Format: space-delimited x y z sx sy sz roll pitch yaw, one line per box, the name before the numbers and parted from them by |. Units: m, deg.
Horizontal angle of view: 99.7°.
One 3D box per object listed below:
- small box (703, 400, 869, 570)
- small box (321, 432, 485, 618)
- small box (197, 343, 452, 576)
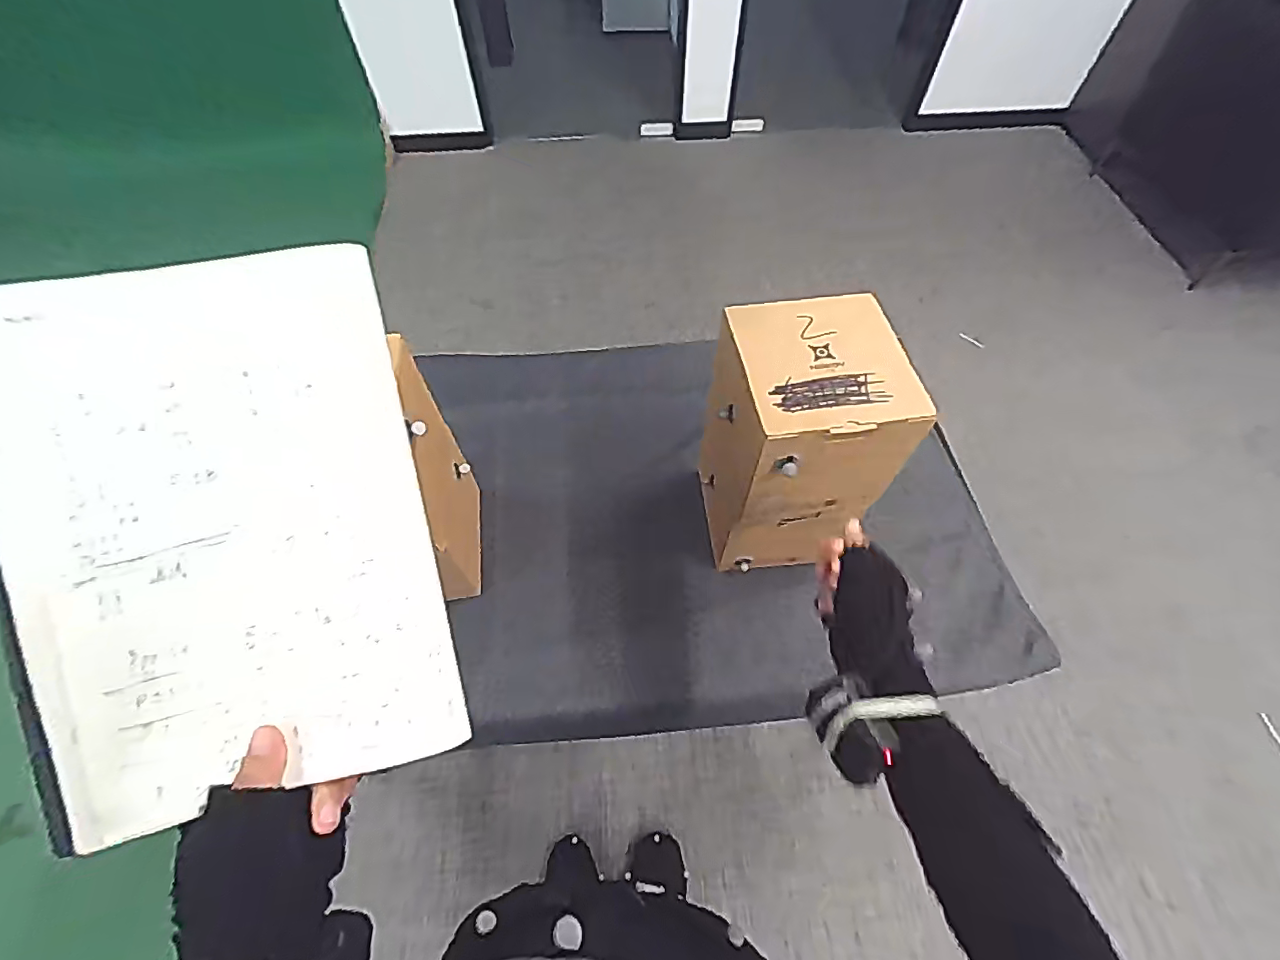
small box | 0.185 0.015 0.746 0.168 0.176 0.179 -5 57 -3
small box | -0.308 0.062 0.713 0.168 0.176 0.179 -8 58 -5
small box | -0.305 -0.018 0.572 0.168 0.176 0.179 -7 58 -5
